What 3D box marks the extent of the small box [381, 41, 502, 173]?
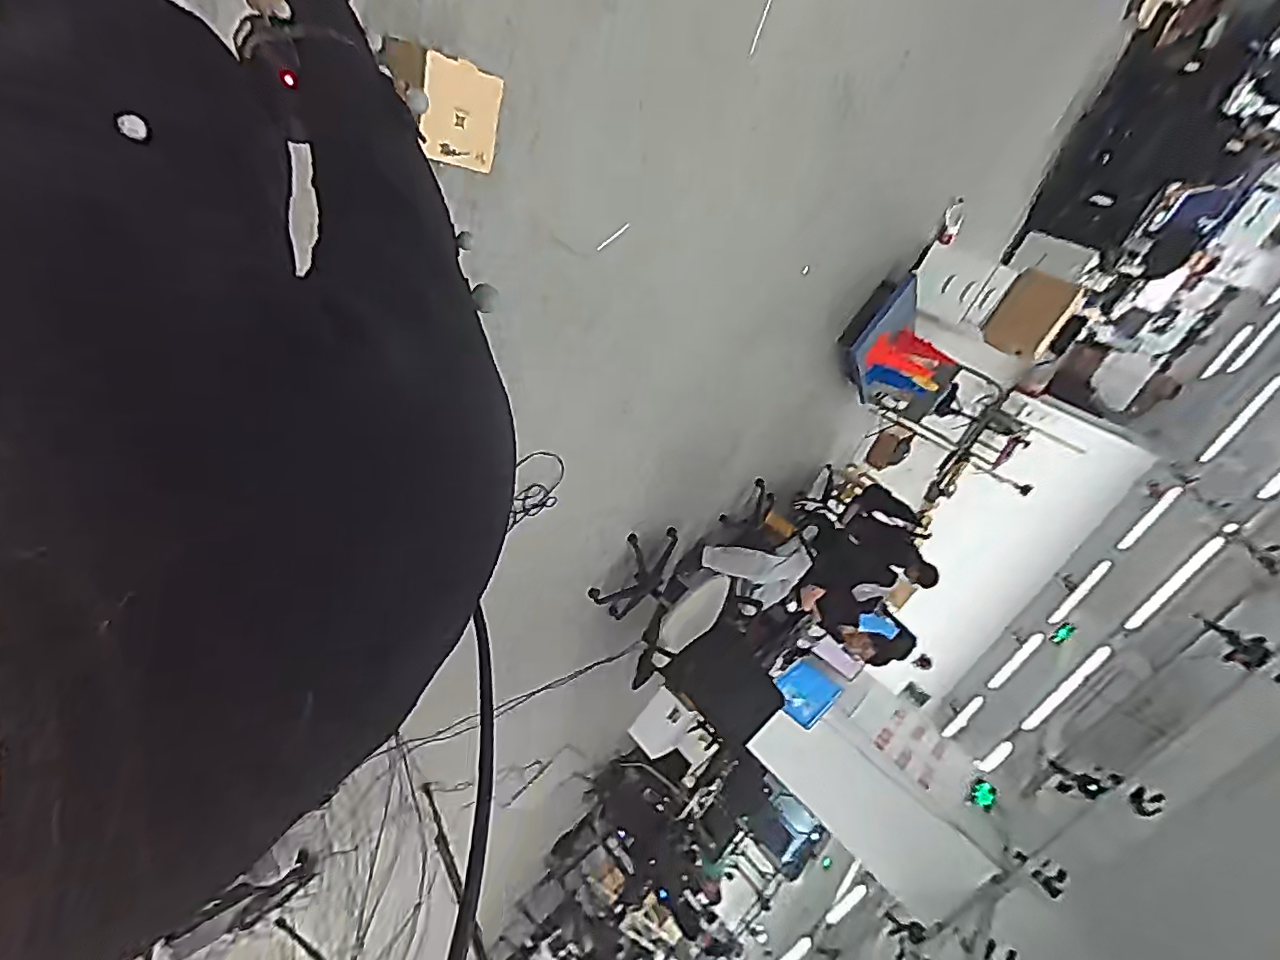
[{"bbox_3d":[-0.409,-0.759,1.104,0.168,0.176,0.179,-15,133,-46],"label":"small box"}]
